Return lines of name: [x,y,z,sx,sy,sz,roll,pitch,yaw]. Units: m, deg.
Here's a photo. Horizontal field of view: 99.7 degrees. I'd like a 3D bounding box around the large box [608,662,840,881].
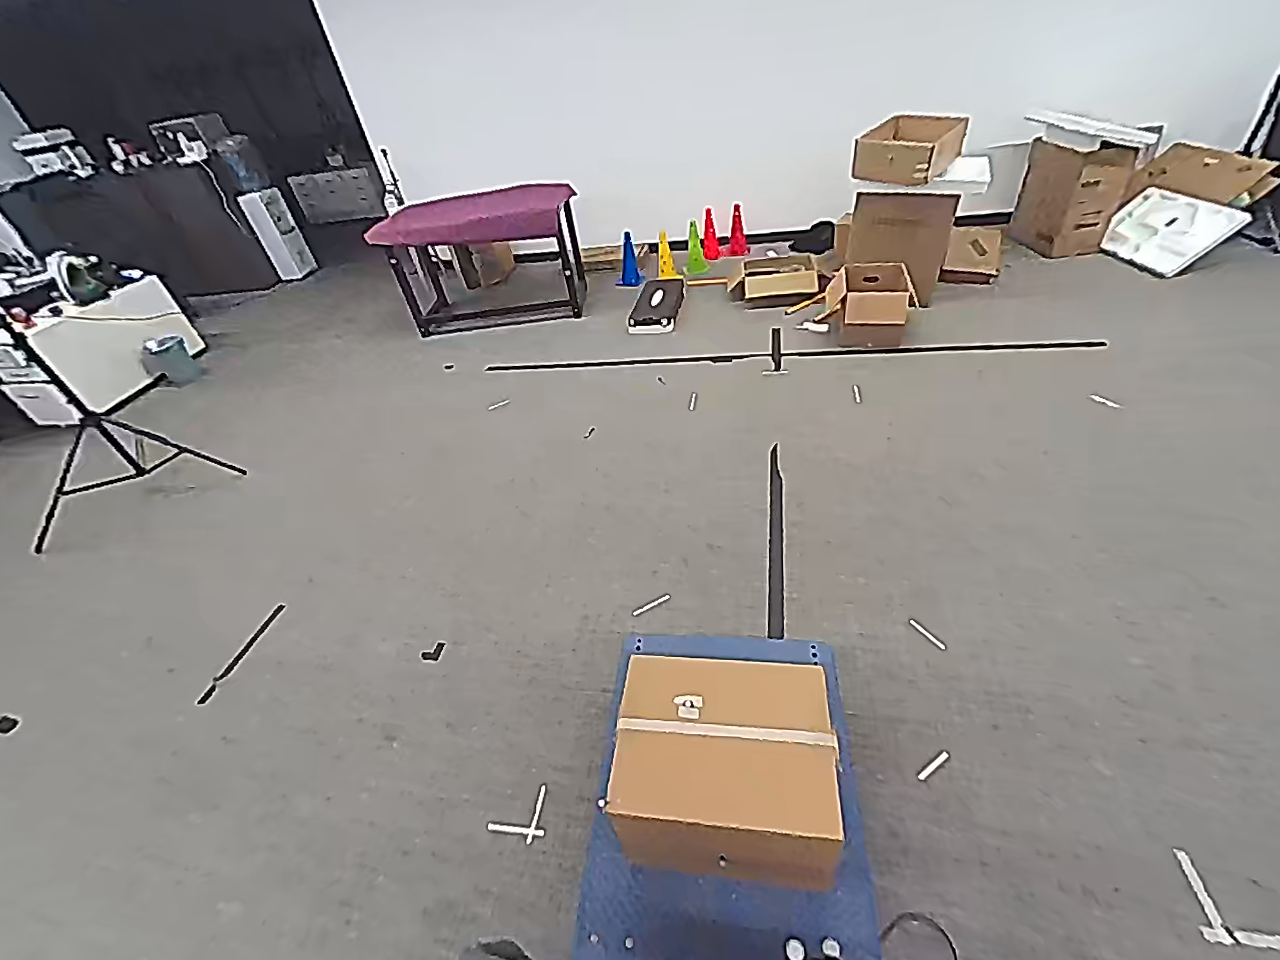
large box: [0.178,0.604,1.133,0.408,0.320,0.320,-2,40,11]
